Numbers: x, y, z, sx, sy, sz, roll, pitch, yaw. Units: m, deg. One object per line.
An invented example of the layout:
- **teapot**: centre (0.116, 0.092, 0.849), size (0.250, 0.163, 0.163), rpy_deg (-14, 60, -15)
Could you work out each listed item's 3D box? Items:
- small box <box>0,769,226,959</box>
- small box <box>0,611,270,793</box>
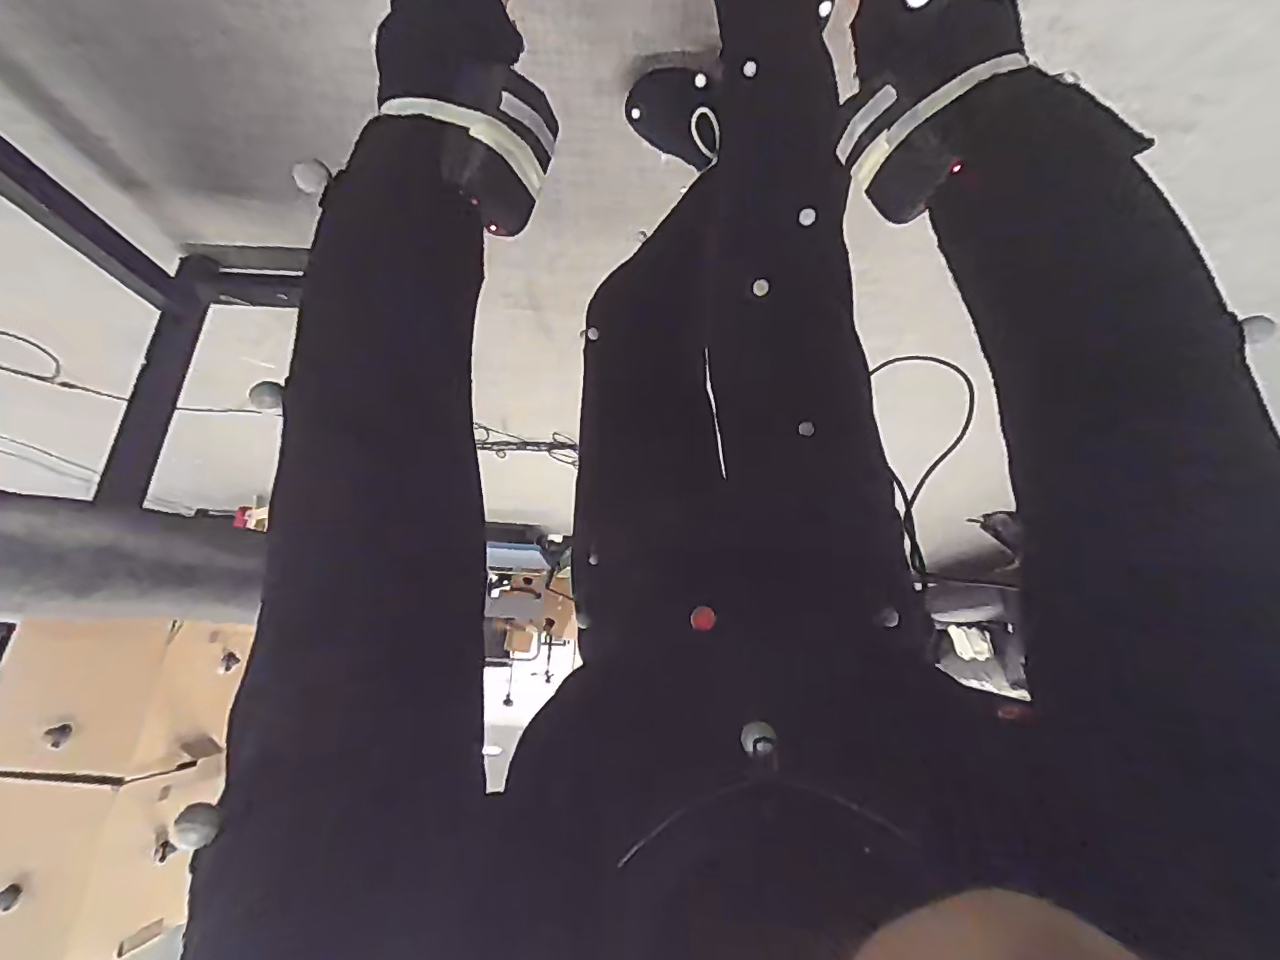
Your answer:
- **small box**: centre (-0.582, 0.399, 0.568), size (0.179, 0.176, 0.168), rpy_deg (0, 162, 4)
- **small box**: centre (-0.577, 0.245, 0.623), size (0.179, 0.176, 0.168), rpy_deg (2, 162, 3)
